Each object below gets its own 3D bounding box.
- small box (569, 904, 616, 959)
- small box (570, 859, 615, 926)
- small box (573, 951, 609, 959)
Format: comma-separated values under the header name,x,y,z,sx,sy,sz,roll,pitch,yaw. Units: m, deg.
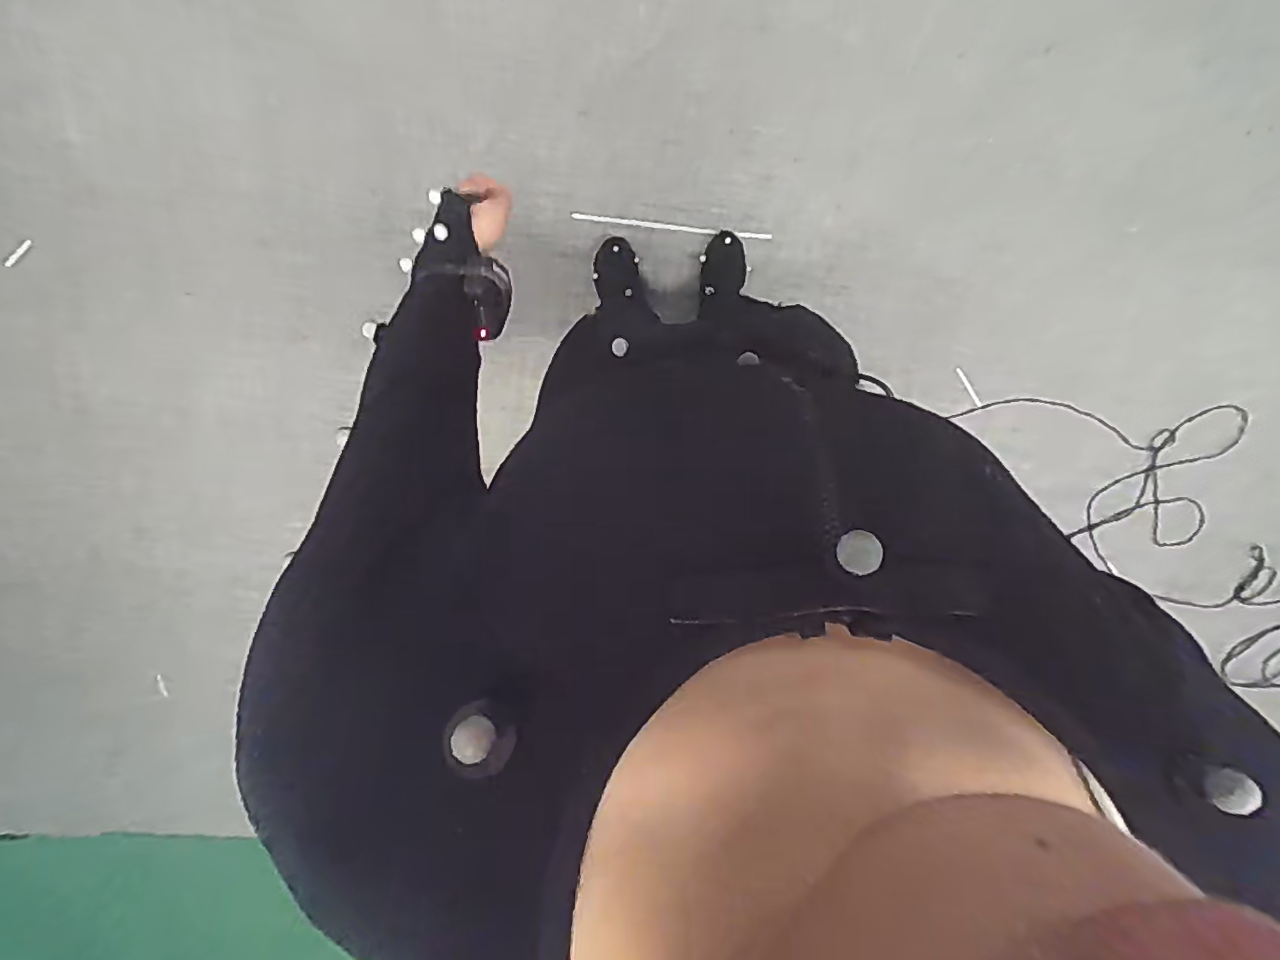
name,x,y,z,sx,sy,sz,roll,pitch,yaw
small box,-0.184,1.769,2.077,0.168,0.176,0.179,7,115,-3
small box,-0.193,1.709,2.230,0.168,0.176,0.179,5,115,-3
small box,-0.184,1.831,1.926,0.168,0.176,0.179,27,113,-12
